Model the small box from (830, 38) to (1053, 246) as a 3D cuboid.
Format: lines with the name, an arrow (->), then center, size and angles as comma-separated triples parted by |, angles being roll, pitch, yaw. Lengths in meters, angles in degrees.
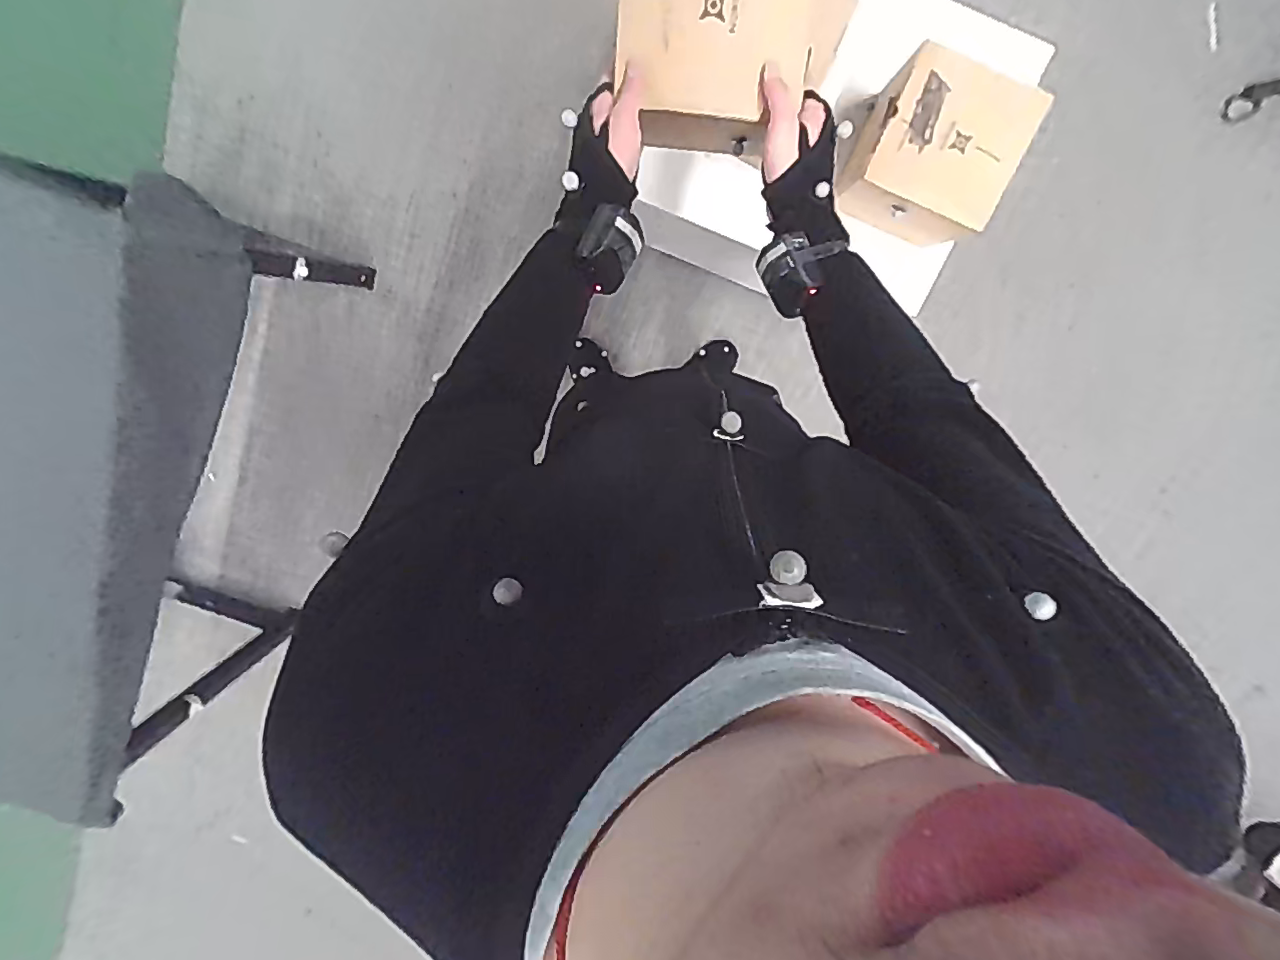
small box -> 0.391, -0.441, 0.742 | 0.179, 0.176, 0.168 | 21, 105, -5

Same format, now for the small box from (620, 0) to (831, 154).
small box -> 0.071, -0.429, 0.525 | 0.179, 0.176, 0.168 | 2, 110, -2
